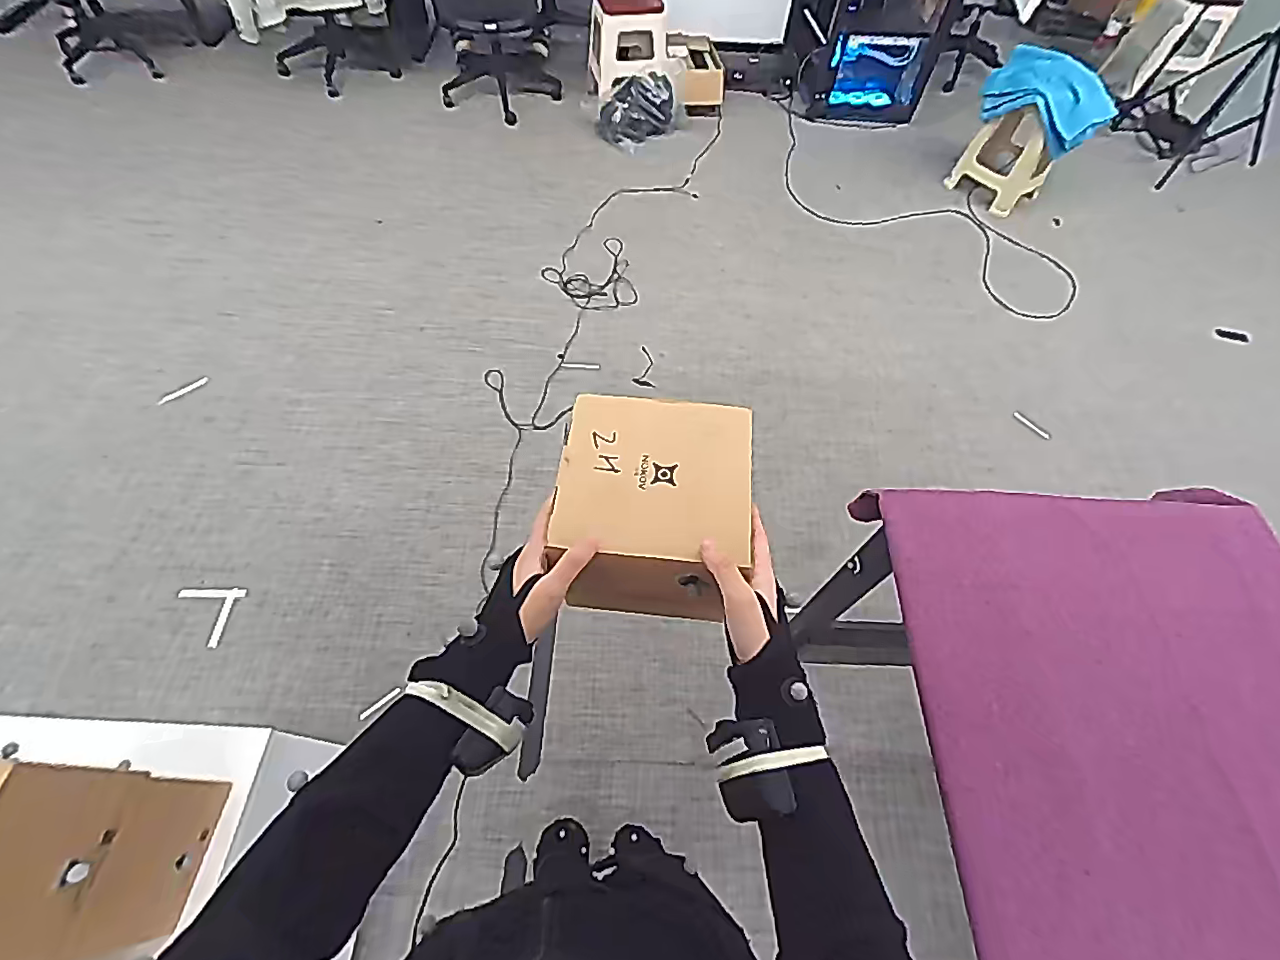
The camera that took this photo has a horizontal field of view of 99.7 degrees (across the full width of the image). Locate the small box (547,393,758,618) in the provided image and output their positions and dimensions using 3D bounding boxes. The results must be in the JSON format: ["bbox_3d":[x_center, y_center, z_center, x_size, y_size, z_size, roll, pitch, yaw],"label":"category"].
[{"bbox_3d":[0.017,0.034,0.553,0.179,0.176,0.168,5,60,4],"label":"small box"}]

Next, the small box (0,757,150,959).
[{"bbox_3d":[-0.627,0.345,0.492,0.179,0.176,0.168,5,59,-1],"label":"small box"}]
